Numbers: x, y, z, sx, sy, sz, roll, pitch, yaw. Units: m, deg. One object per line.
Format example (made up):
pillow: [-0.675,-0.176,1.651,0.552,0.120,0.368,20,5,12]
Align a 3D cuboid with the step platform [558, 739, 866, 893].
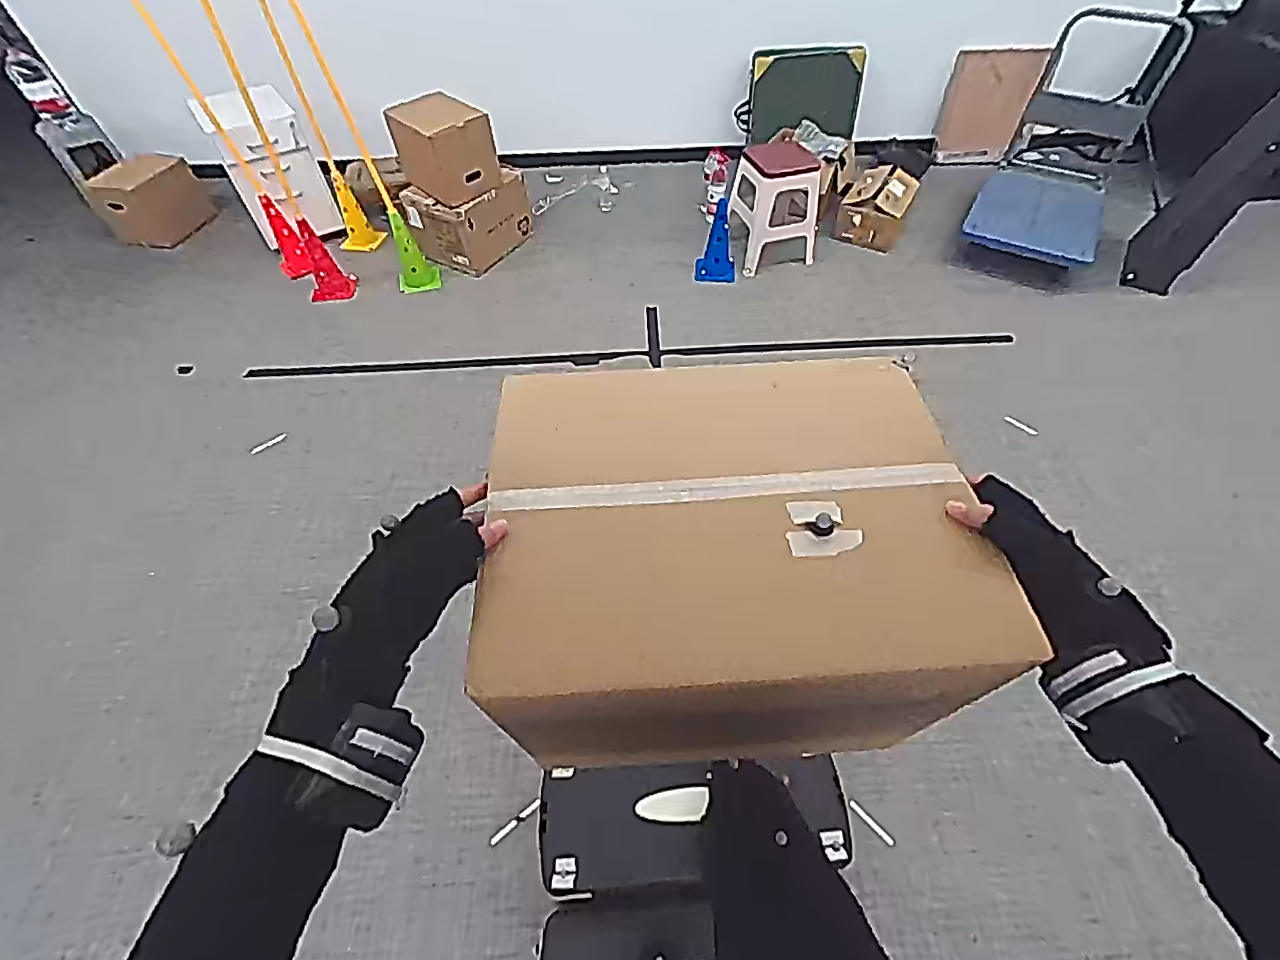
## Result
step platform: [0.154,0.755,1.259,0.684,0.204,0.286,-4,52,-3]

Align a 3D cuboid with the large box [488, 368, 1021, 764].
large box: [0.076,0.103,0.598,0.408,0.320,0.320,-3,54,-2]
